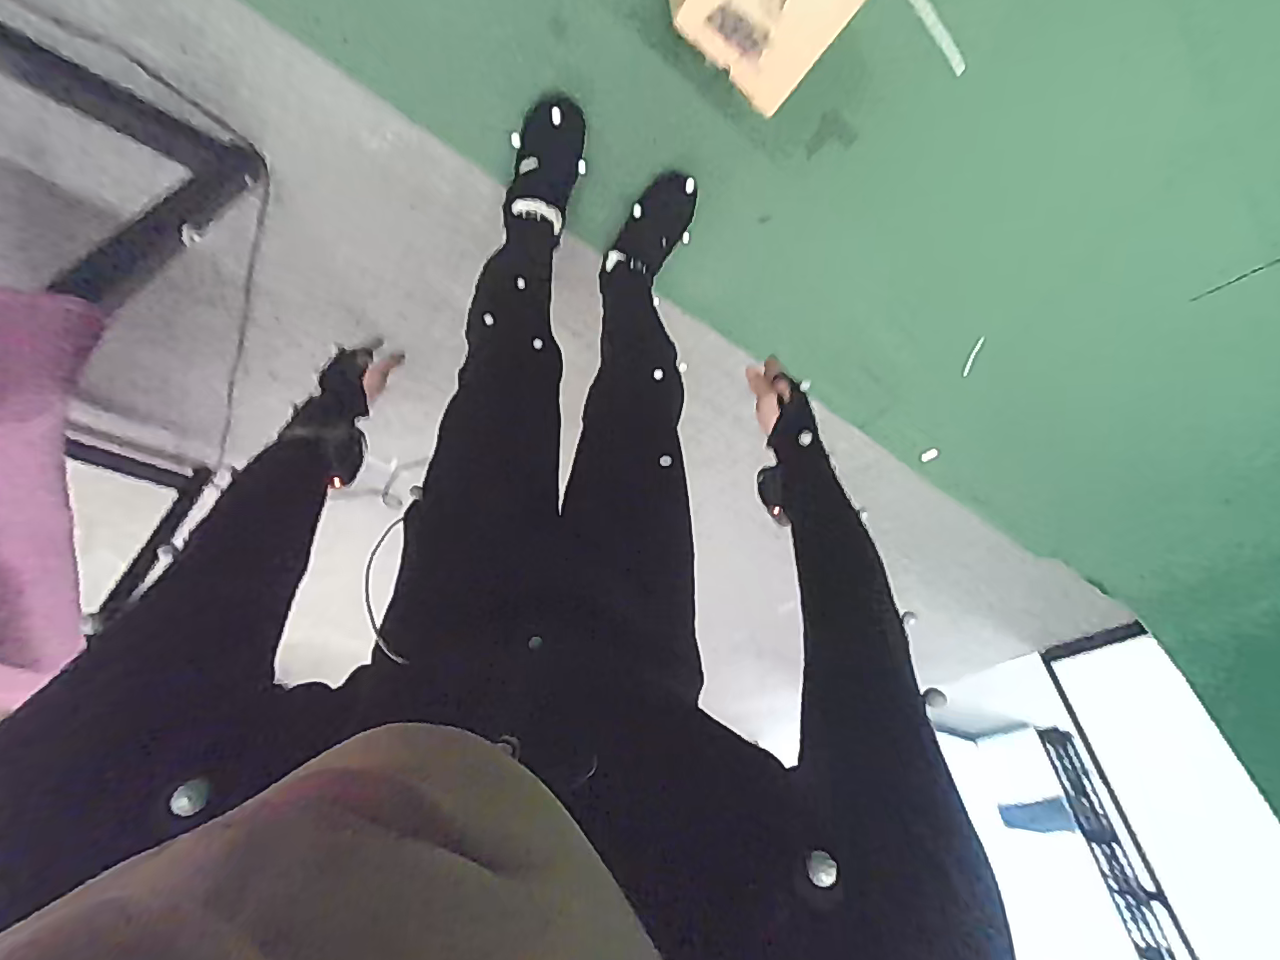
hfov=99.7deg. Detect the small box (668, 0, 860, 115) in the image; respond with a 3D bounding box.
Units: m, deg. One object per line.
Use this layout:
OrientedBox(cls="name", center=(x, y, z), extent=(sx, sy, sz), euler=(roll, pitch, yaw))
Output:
OrientedBox(cls="small box", center=(0.149, -0.611, 0.668), extent=(0.168, 0.176, 0.179), euler=(26, 132, -28))
